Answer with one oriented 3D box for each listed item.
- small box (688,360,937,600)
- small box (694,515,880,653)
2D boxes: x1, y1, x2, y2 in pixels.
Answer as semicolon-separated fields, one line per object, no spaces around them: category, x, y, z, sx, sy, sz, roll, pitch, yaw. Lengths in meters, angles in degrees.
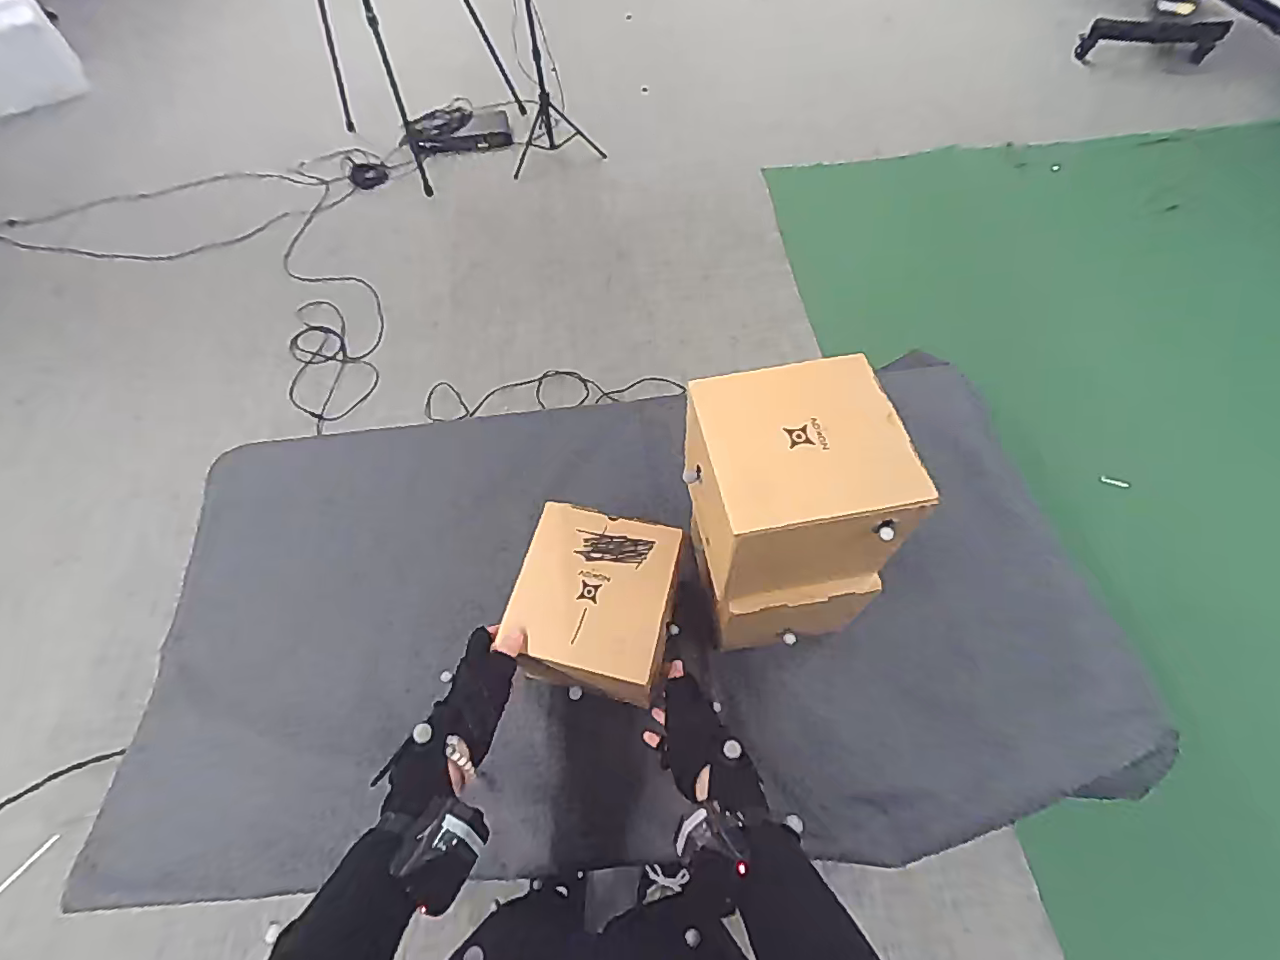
small box;0.148;0.008;0.543;0.179;0.176;0.168;-9;59;-4
small box;0.165;0.100;0.677;0.168;0.176;0.179;-9;59;-2
